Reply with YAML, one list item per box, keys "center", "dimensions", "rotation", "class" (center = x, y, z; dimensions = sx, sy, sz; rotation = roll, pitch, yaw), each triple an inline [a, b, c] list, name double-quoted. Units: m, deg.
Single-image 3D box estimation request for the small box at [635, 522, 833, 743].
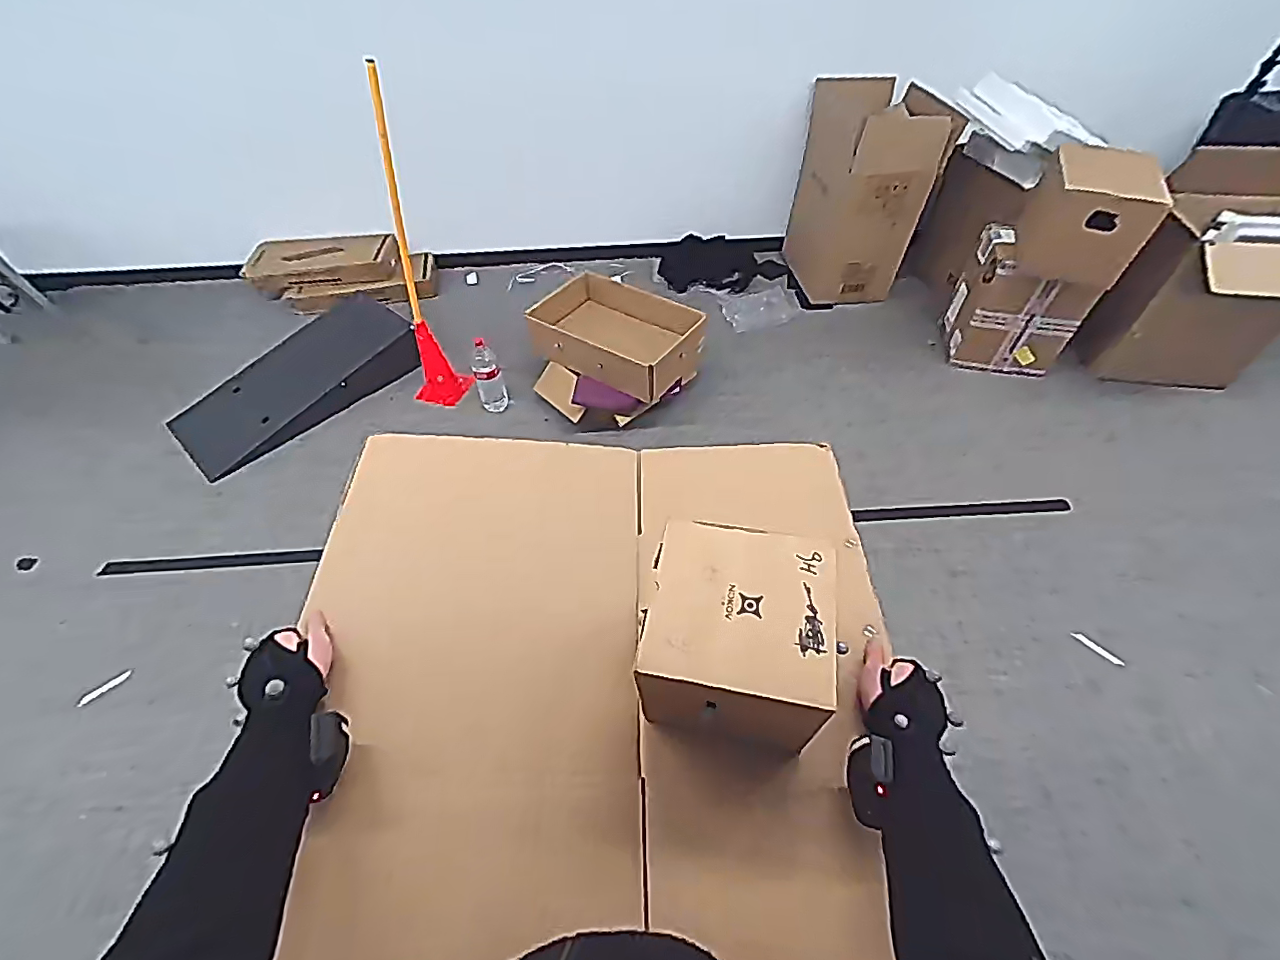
- center: [0.103, 0.167, 0.583]
  dimensions: [0.179, 0.176, 0.168]
  rotation: [7, 54, 11]
  class: "small box"
